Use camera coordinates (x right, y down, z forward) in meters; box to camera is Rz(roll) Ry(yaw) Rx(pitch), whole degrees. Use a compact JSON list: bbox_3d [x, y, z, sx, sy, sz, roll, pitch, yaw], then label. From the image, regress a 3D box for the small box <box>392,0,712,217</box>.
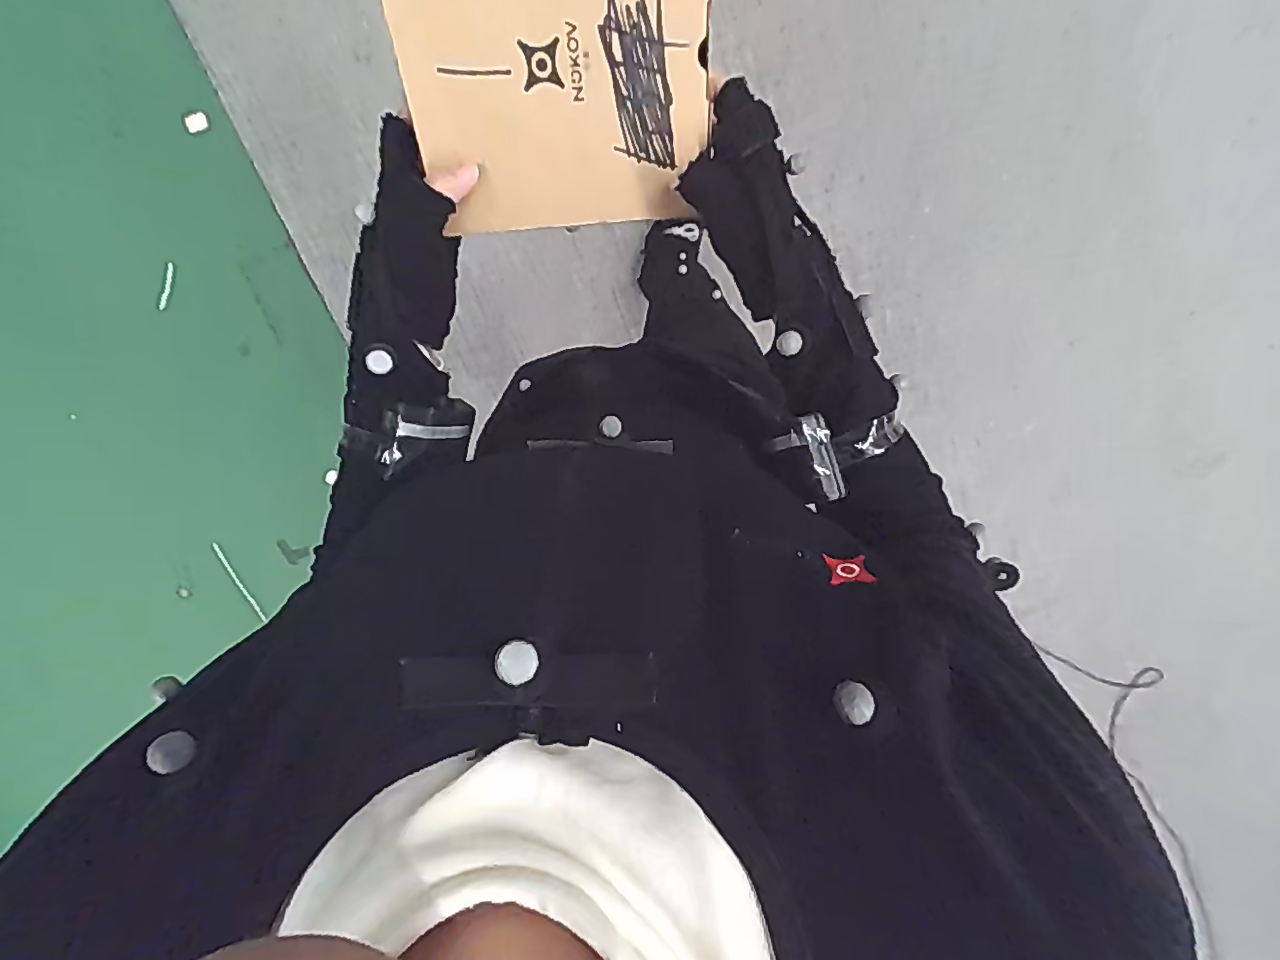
[{"bbox_3d":[-0.050,-0.290,0.371,0.179,0.176,0.168,-4,125,1],"label":"small box"}]
